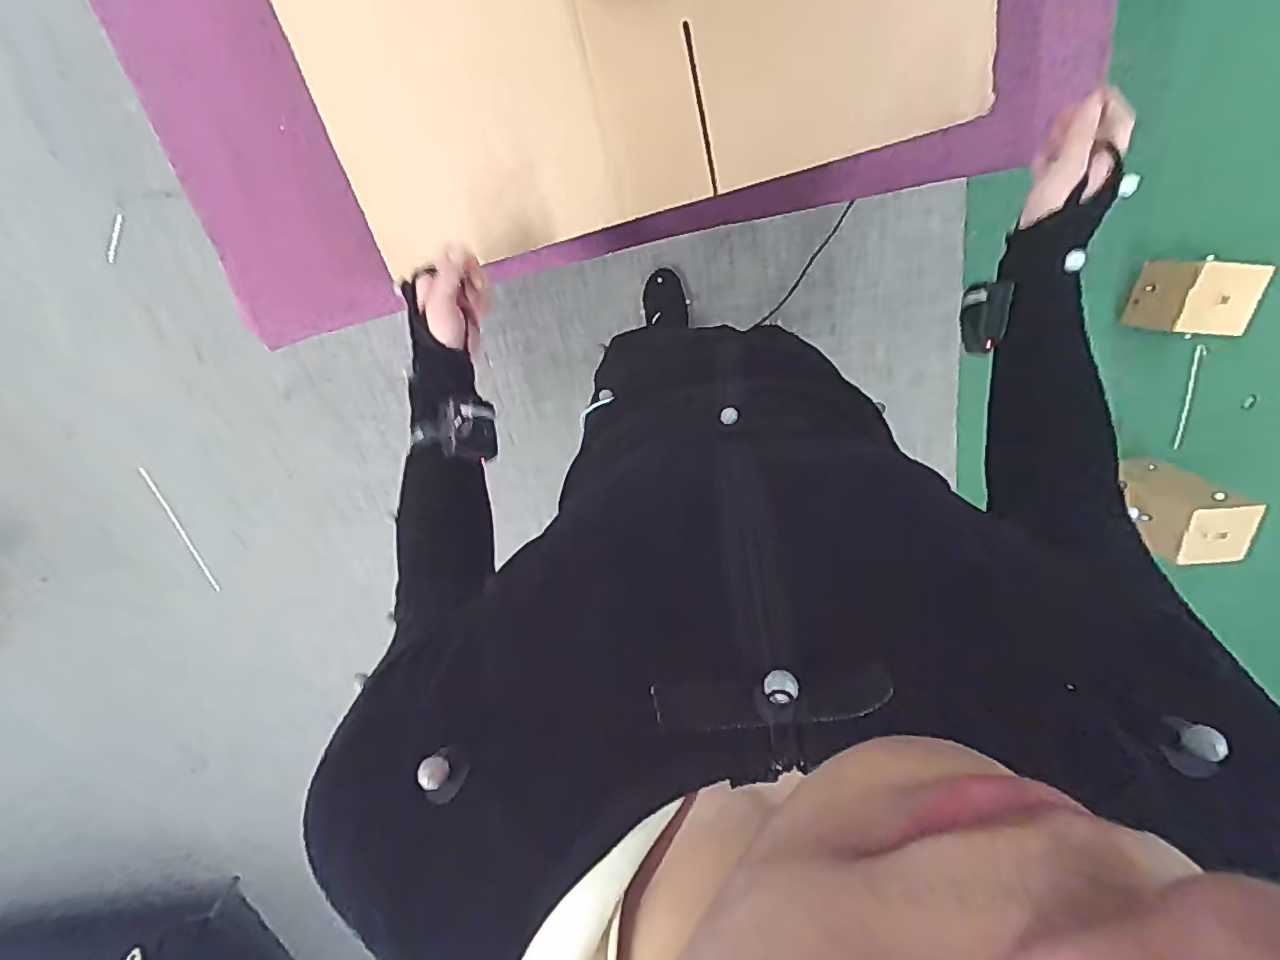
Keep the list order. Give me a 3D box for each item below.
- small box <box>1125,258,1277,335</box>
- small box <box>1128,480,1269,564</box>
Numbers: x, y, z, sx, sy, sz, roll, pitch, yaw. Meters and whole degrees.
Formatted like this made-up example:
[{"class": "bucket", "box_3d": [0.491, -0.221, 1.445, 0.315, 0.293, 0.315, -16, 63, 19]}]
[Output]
[{"class": "small box", "box_3d": [1.420, -0.473, 1.383, 0.179, 0.176, 0.168, 4, 114, 0]}, {"class": "small box", "box_3d": [1.488, 0.107, 1.455, 0.179, 0.176, 0.168, -4, 114, 3]}]
